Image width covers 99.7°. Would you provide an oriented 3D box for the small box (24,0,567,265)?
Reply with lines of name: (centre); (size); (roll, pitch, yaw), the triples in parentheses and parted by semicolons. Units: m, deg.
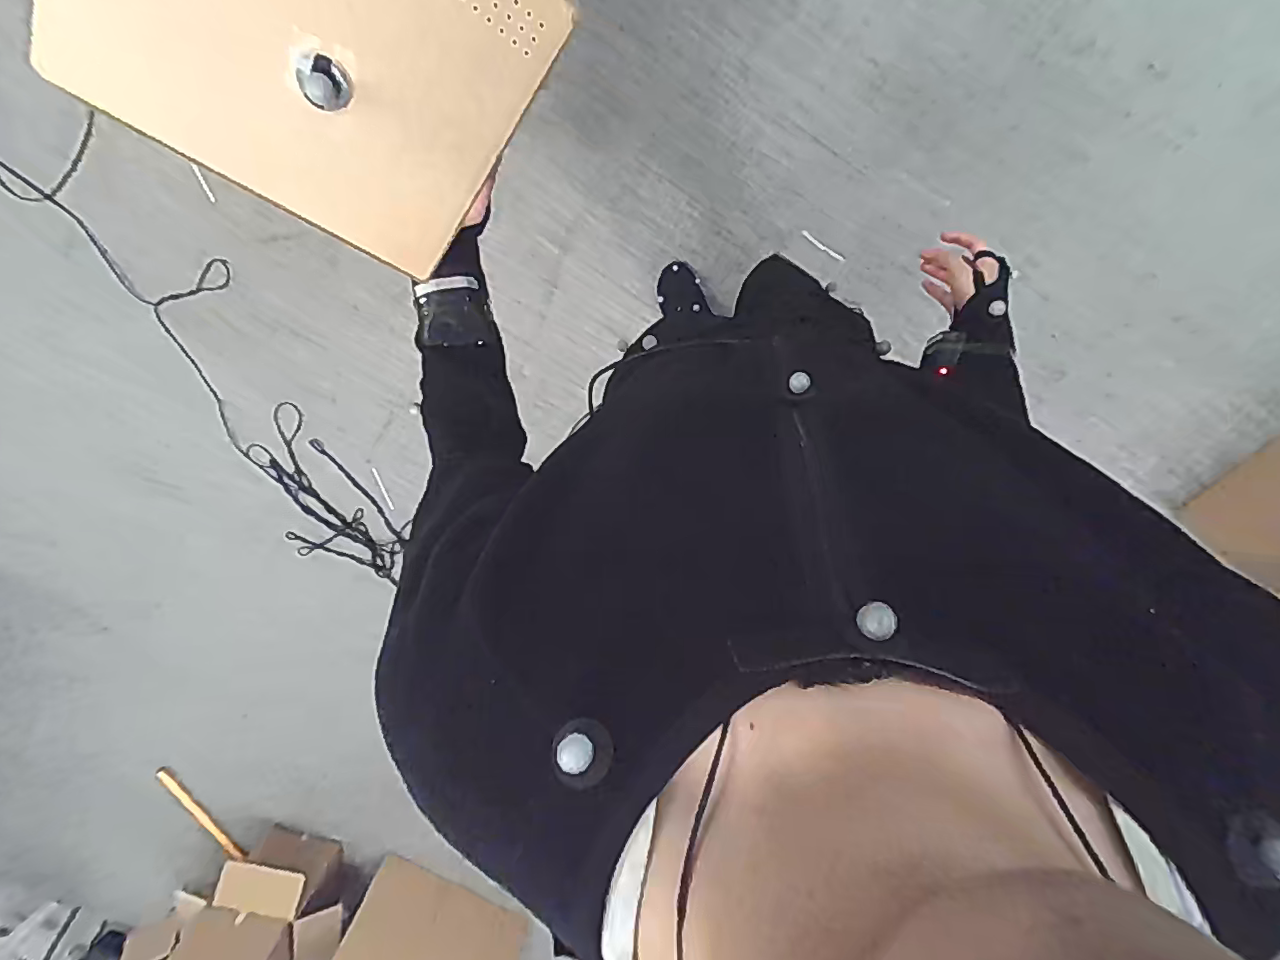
small box: (-0.155, -0.262, 0.283); (0.179, 0.168, 0.176); (22, 132, -34)
